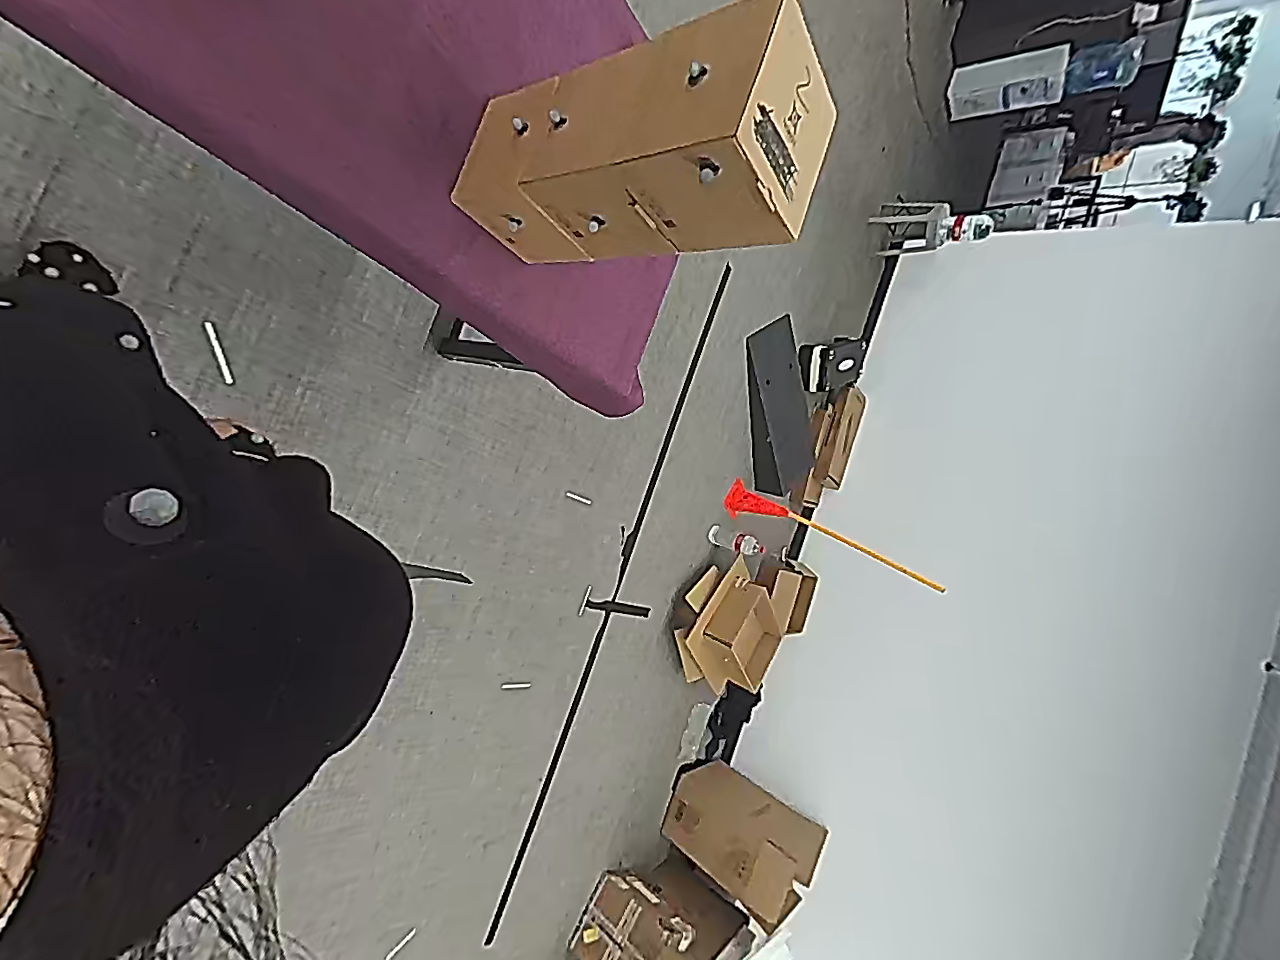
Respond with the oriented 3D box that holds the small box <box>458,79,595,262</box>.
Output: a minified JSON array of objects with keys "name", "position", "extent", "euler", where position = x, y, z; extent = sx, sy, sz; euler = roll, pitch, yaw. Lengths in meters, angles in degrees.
[{"name":"small box","position":[-0.153,-0.458,0.834],"extent":[0.168,0.176,0.179],"euler":[26,81,-51]}]

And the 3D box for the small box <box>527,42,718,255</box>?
[{"name":"small box","position":[-0.026,-0.427,0.734],"extent":[0.168,0.176,0.179],"euler":[28,81,-51]}]
